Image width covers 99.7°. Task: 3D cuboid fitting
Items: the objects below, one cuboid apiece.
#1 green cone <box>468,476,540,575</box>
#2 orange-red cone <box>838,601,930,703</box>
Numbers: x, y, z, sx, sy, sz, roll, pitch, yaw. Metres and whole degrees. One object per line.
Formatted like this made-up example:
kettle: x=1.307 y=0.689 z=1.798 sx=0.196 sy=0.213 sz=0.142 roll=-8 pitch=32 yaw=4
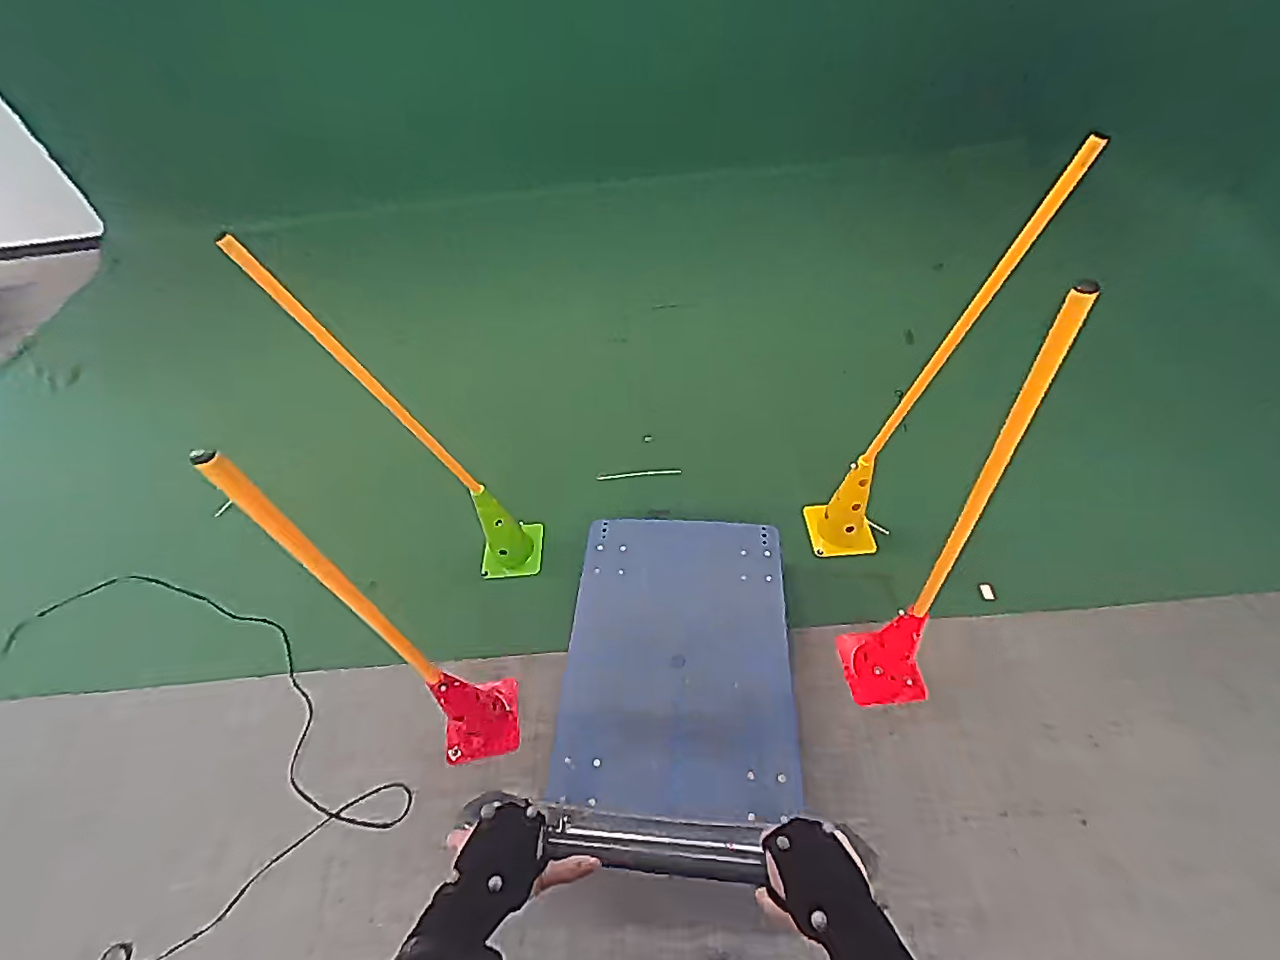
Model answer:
green cone: x=-0.457 y=0.119 z=1.696 sx=0.200 sy=0.368 sz=0.202 roll=-6 pitch=50 yaw=3
orange-red cone: x=0.648 y=0.401 z=1.356 sx=0.198 sy=0.360 sz=0.199 roll=-5 pitch=50 yaw=2
